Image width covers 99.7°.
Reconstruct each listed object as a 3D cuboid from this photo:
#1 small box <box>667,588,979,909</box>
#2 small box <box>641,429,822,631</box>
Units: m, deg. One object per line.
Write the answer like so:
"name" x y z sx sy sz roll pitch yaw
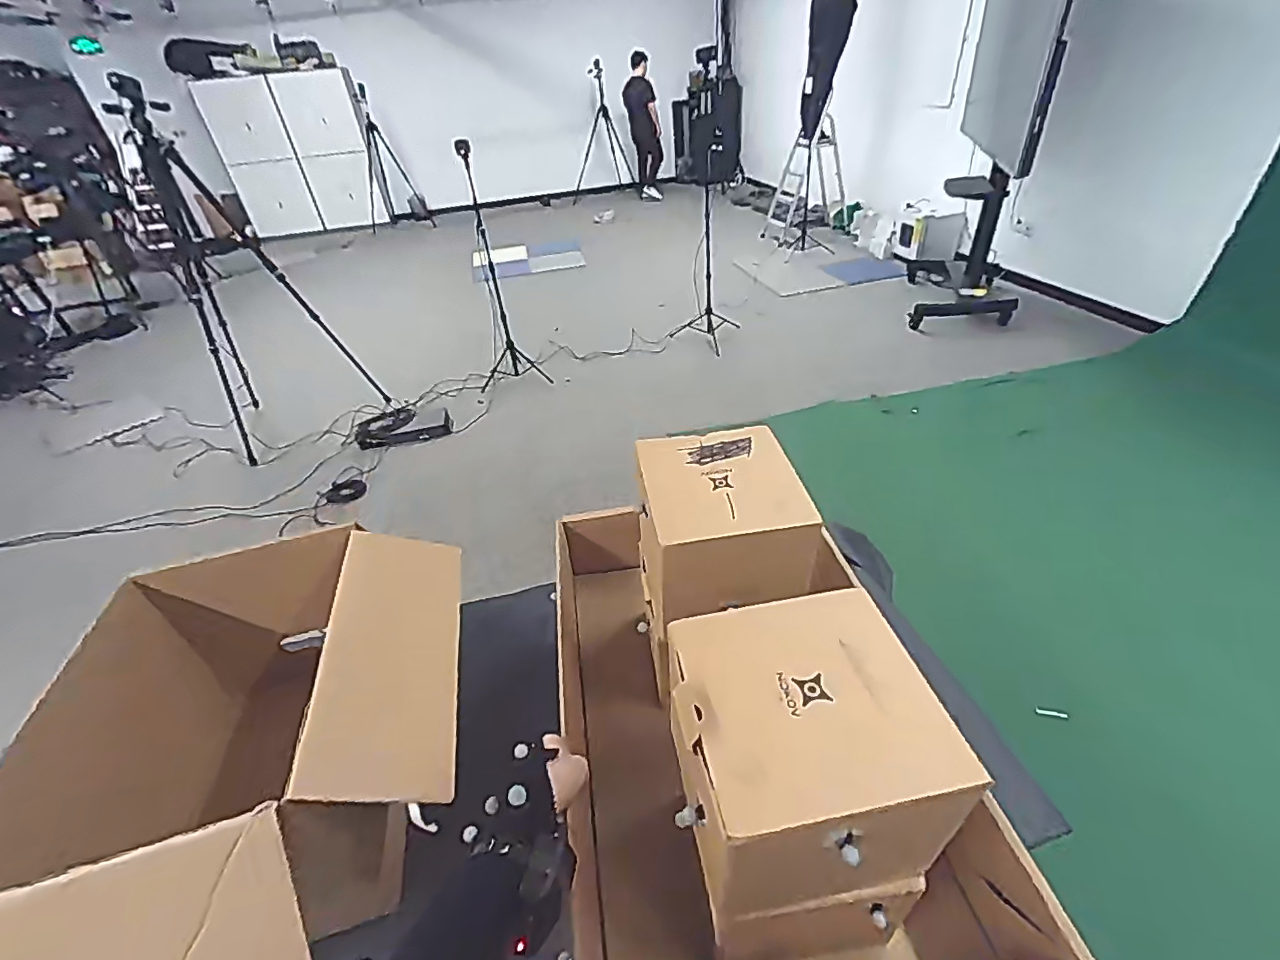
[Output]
"small box" 0.126 0.218 0.446 0.179 0.176 0.168 -8 38 -6
"small box" 0.093 0.062 0.642 0.168 0.176 0.179 -7 40 -4
